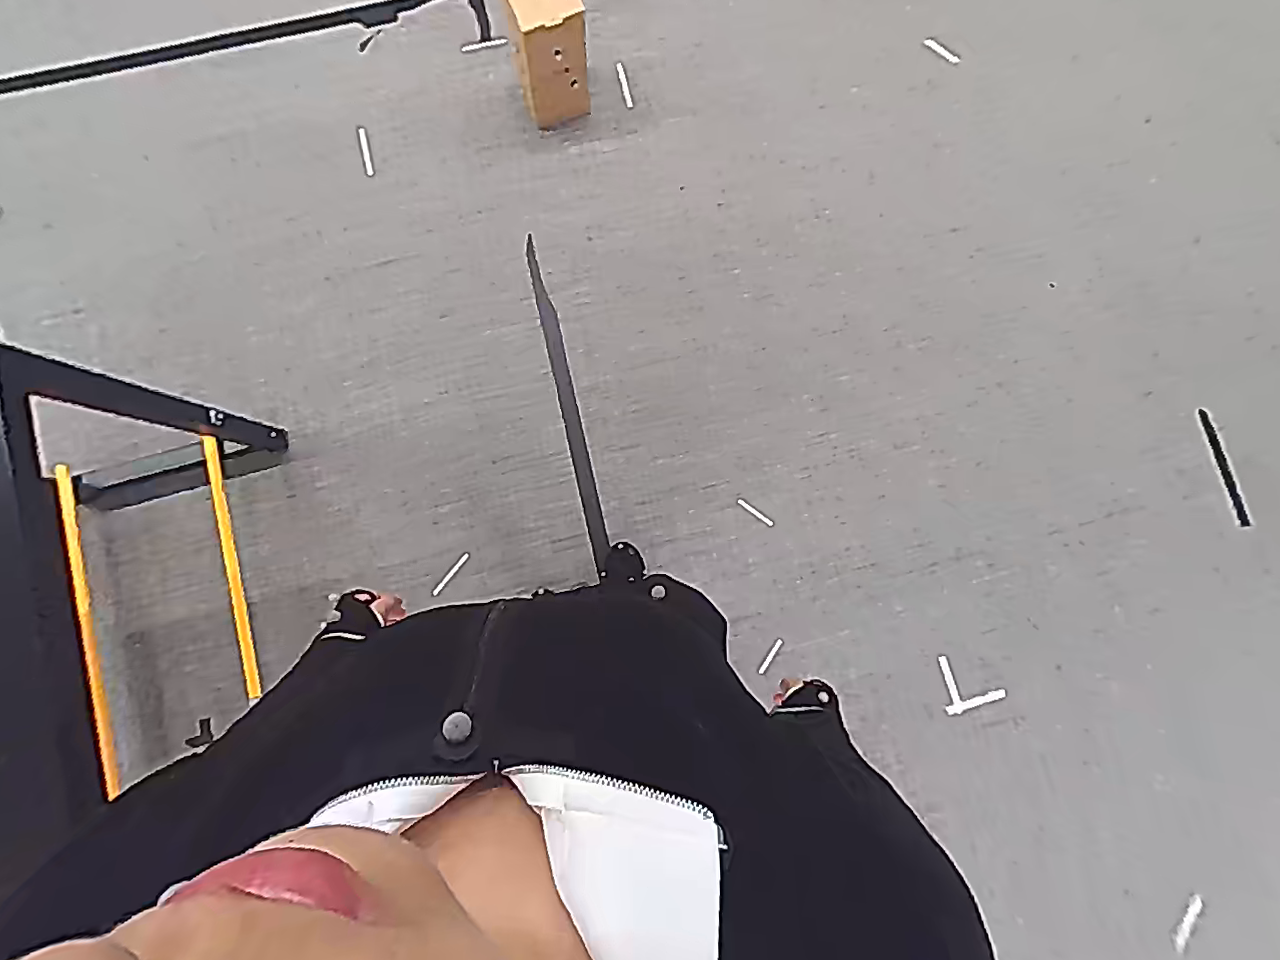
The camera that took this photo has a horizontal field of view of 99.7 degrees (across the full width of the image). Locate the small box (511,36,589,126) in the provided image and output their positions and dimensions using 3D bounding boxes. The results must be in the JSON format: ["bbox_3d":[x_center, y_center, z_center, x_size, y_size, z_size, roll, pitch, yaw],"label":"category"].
[{"bbox_3d":[-0.252,-1.170,1.557,0.179,0.176,0.168,-20,85,-4],"label":"small box"}]

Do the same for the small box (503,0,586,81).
[{"bbox_3d":[-0.245,-1.178,1.394,0.168,0.176,0.179,-21,86,-5],"label":"small box"}]
